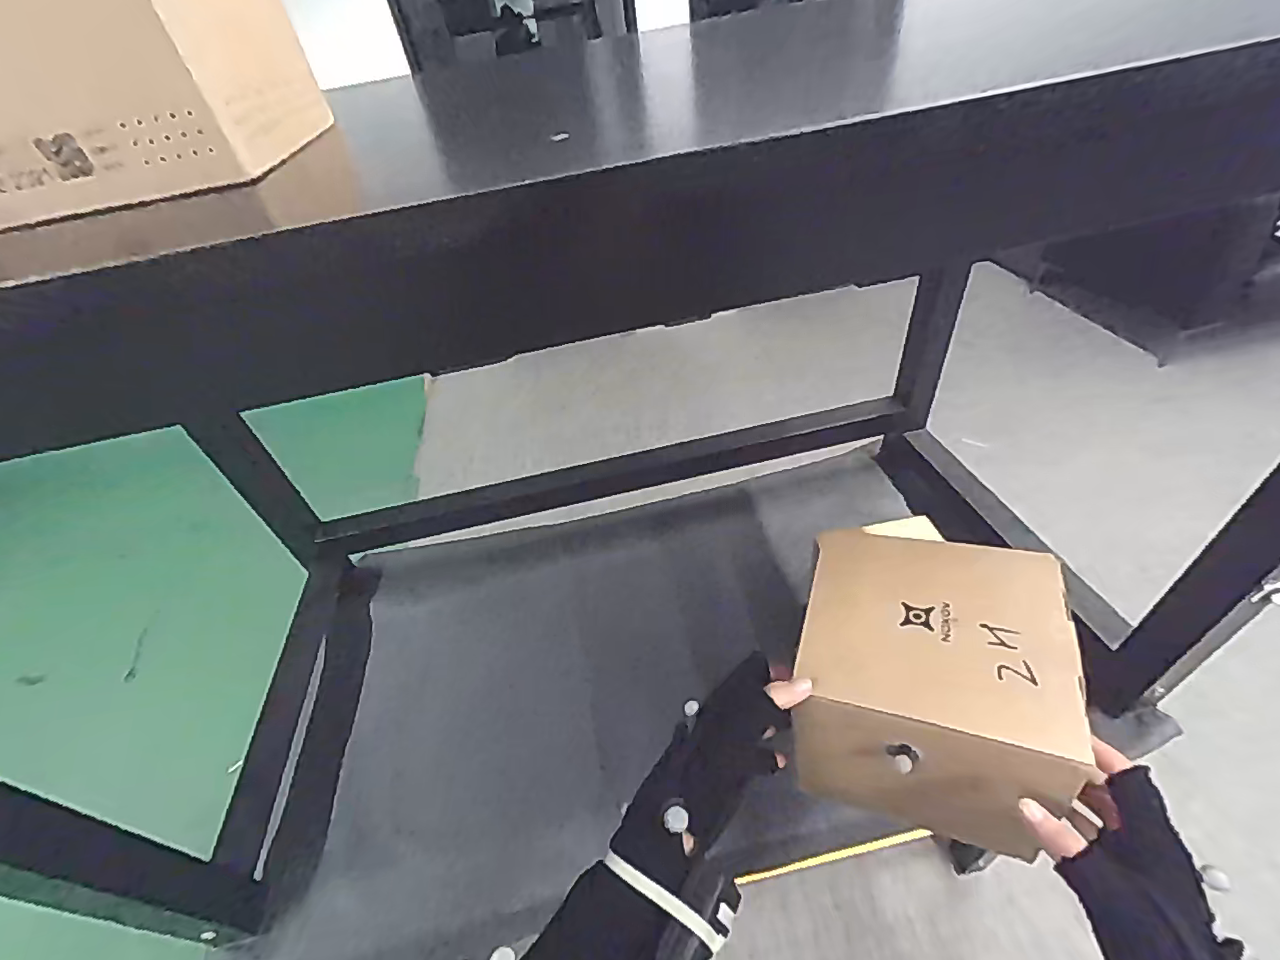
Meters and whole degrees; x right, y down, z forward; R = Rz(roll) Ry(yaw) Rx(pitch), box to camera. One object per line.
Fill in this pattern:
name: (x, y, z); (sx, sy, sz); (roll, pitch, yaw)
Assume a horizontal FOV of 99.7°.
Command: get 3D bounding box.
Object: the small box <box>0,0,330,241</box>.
small box: (-0.273, -0.216, 0.242); (0.168, 0.176, 0.179); (-14, 41, -4)
